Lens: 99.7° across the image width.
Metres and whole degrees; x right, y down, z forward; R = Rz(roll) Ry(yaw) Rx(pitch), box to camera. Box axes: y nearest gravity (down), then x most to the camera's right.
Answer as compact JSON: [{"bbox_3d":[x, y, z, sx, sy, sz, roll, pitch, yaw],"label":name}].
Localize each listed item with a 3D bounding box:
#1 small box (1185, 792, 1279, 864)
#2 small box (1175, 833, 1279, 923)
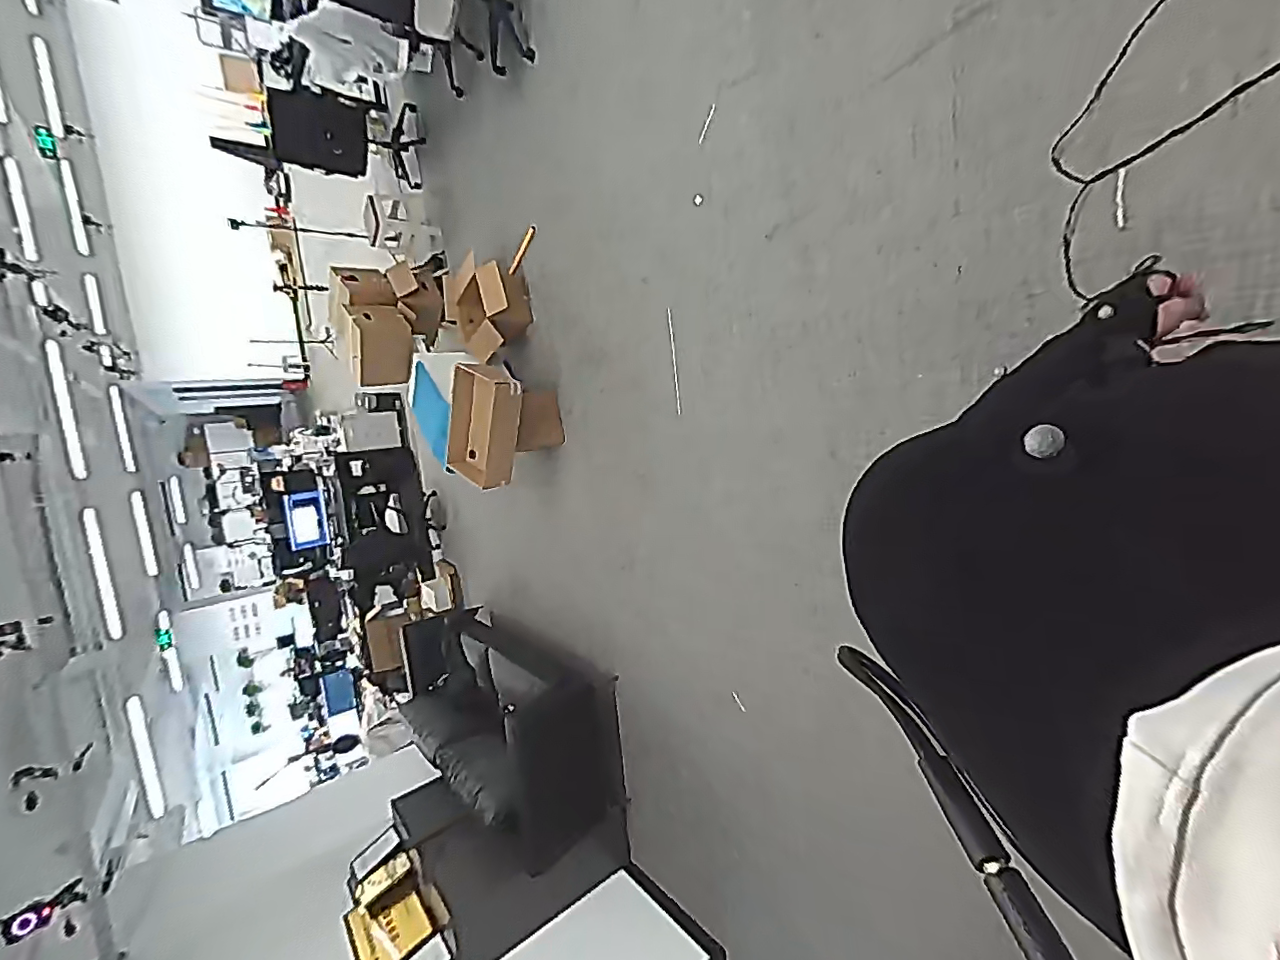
[{"bbox_3d":[1.287,0.808,1.140,0.168,0.176,0.179,-7,93,53],"label":"small box"},{"bbox_3d":[1.159,0.833,1.041,0.168,0.176,0.179,-1,99,52],"label":"small box"}]
